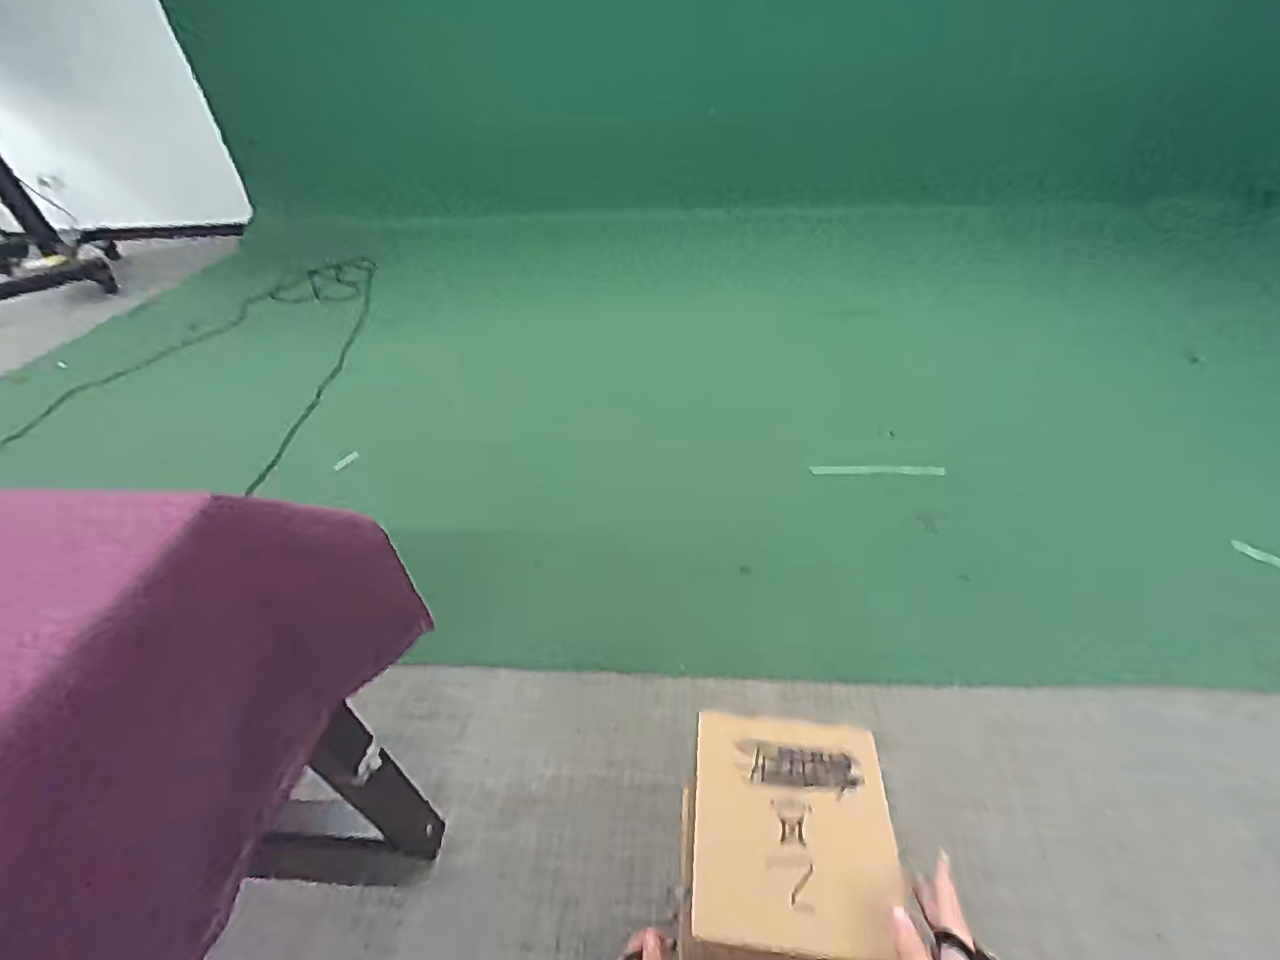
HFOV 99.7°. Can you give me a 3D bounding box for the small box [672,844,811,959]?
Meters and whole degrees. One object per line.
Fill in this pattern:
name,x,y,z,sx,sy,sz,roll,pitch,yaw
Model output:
small box,0.128,0.616,0.711,0.168,0.176,0.179,3,40,7
